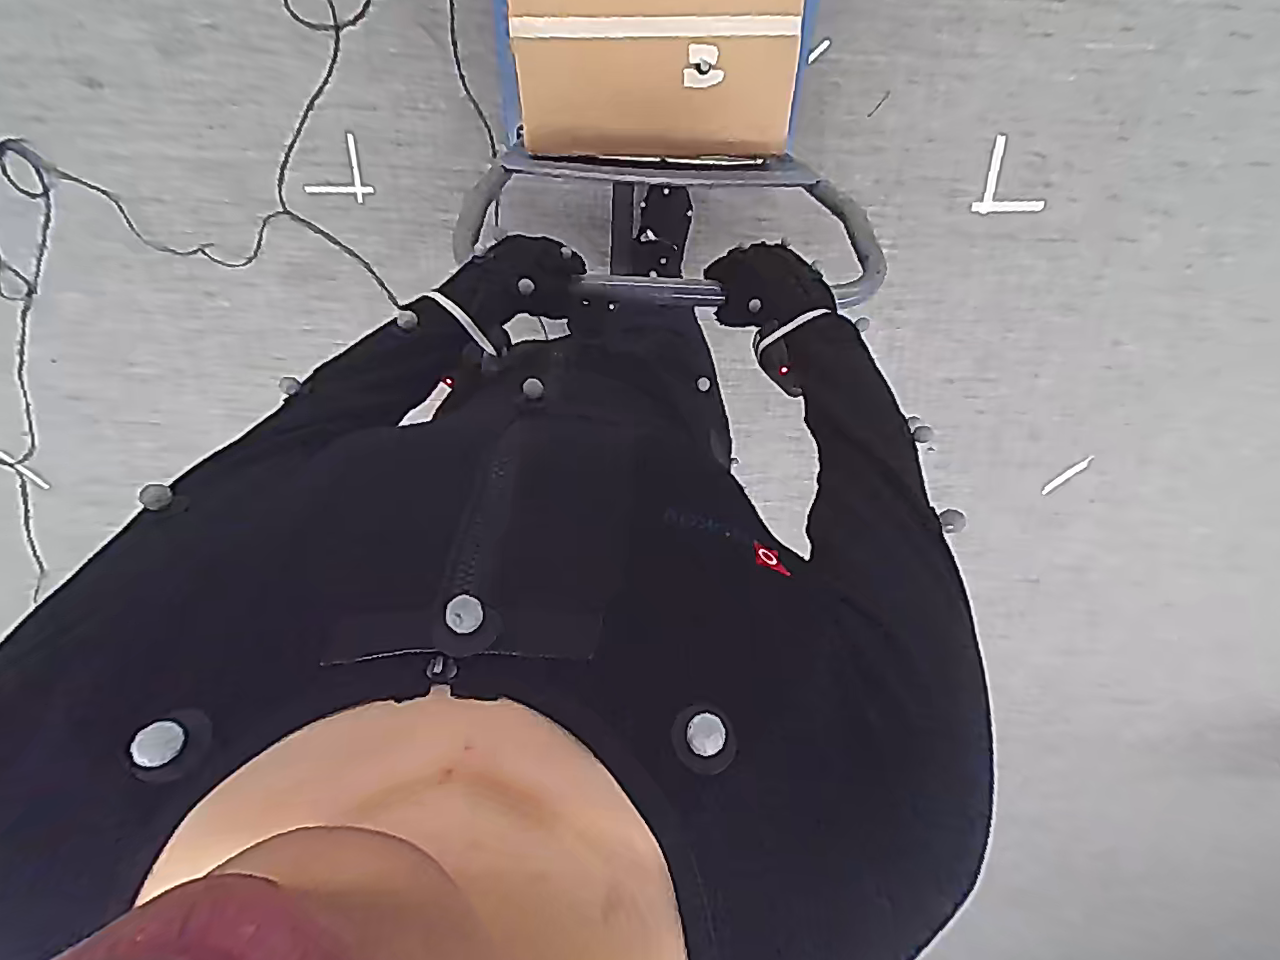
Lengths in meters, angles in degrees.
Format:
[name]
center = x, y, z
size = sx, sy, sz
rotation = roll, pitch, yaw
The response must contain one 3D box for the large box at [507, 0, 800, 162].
[large box]
center = 0.014, -0.712, 0.867
size = 0.408, 0.320, 0.320
rotation = -2, 127, -2
